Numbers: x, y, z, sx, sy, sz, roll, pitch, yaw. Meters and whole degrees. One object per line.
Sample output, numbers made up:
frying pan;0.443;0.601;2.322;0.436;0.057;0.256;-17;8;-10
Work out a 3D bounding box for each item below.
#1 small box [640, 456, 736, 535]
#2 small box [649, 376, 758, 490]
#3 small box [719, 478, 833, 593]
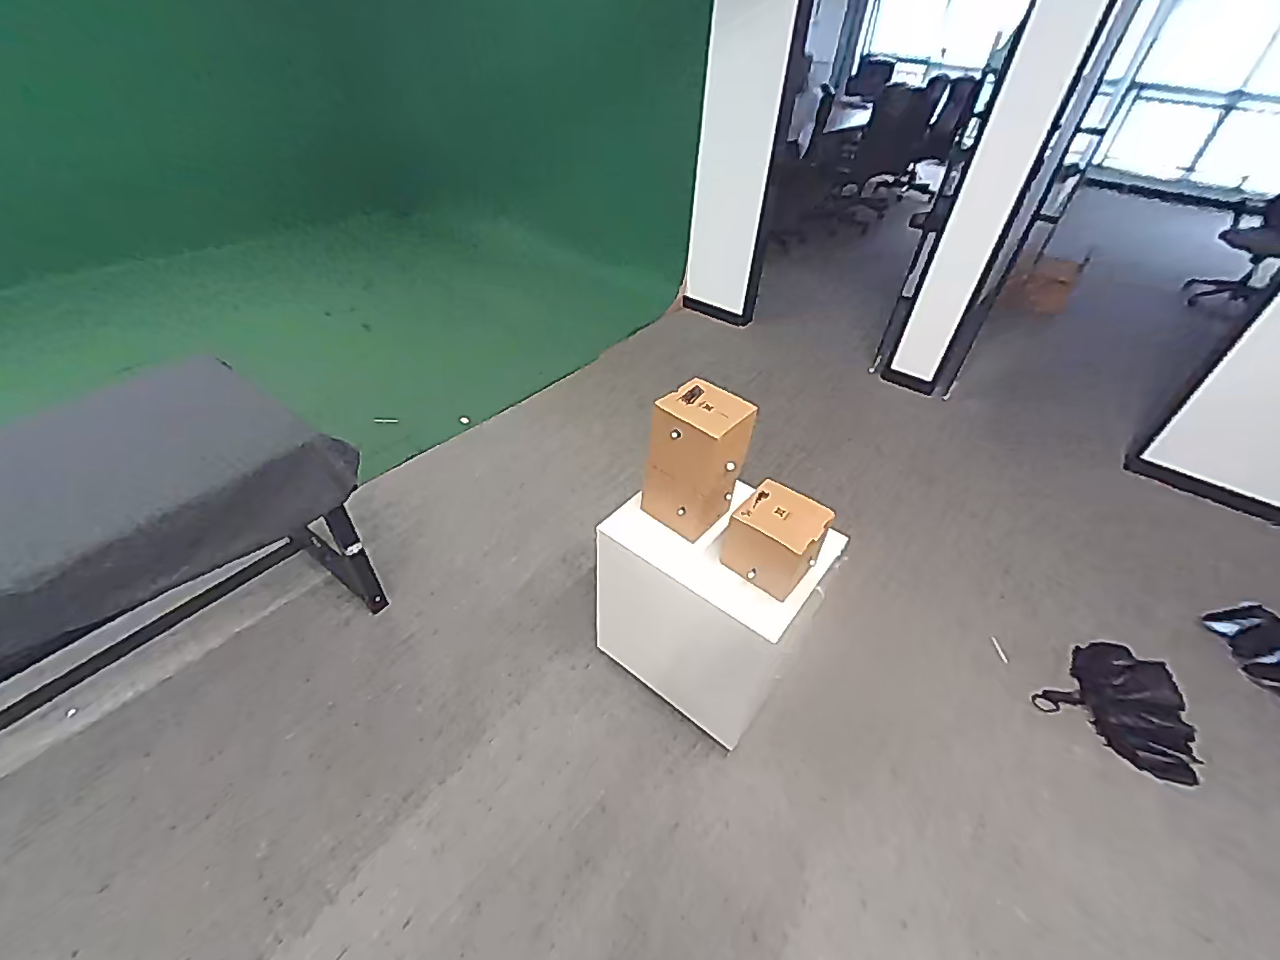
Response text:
small box;0.119;0.013;1.353;0.179;0.176;0.168;31;47;26
small box;0.138;-0.108;1.243;0.179;0.176;0.168;33;48;25
small box;0.306;0.133;1.239;0.179;0.176;0.168;32;49;26
